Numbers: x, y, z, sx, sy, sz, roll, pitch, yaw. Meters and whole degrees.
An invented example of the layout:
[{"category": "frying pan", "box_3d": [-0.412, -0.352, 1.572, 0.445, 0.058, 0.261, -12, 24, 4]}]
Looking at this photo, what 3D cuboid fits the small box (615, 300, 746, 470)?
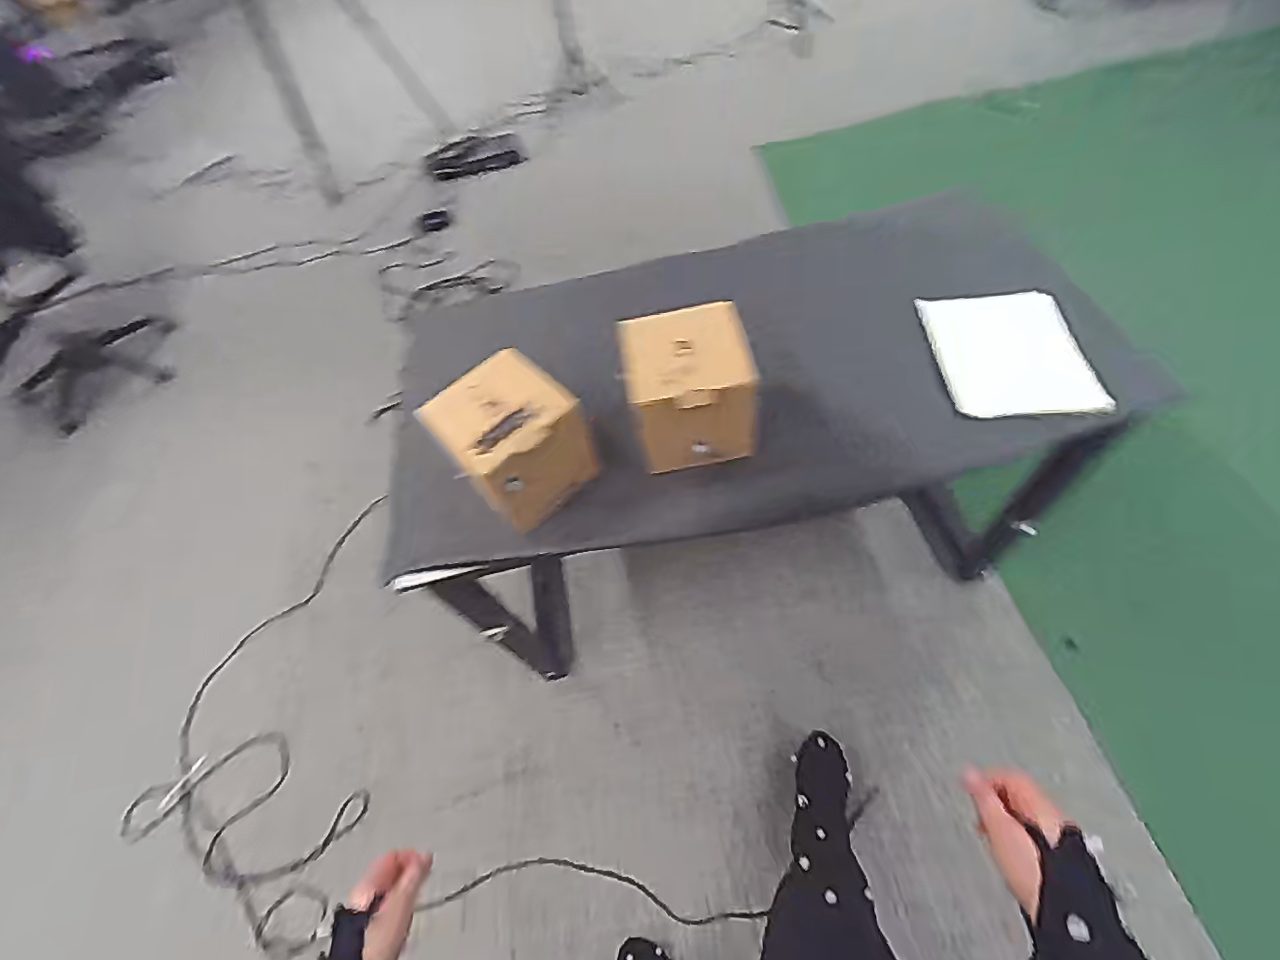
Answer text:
[{"category": "small box", "box_3d": [0.063, -0.142, 0.834, 0.168, 0.176, 0.179, -12, 56, 4]}]
